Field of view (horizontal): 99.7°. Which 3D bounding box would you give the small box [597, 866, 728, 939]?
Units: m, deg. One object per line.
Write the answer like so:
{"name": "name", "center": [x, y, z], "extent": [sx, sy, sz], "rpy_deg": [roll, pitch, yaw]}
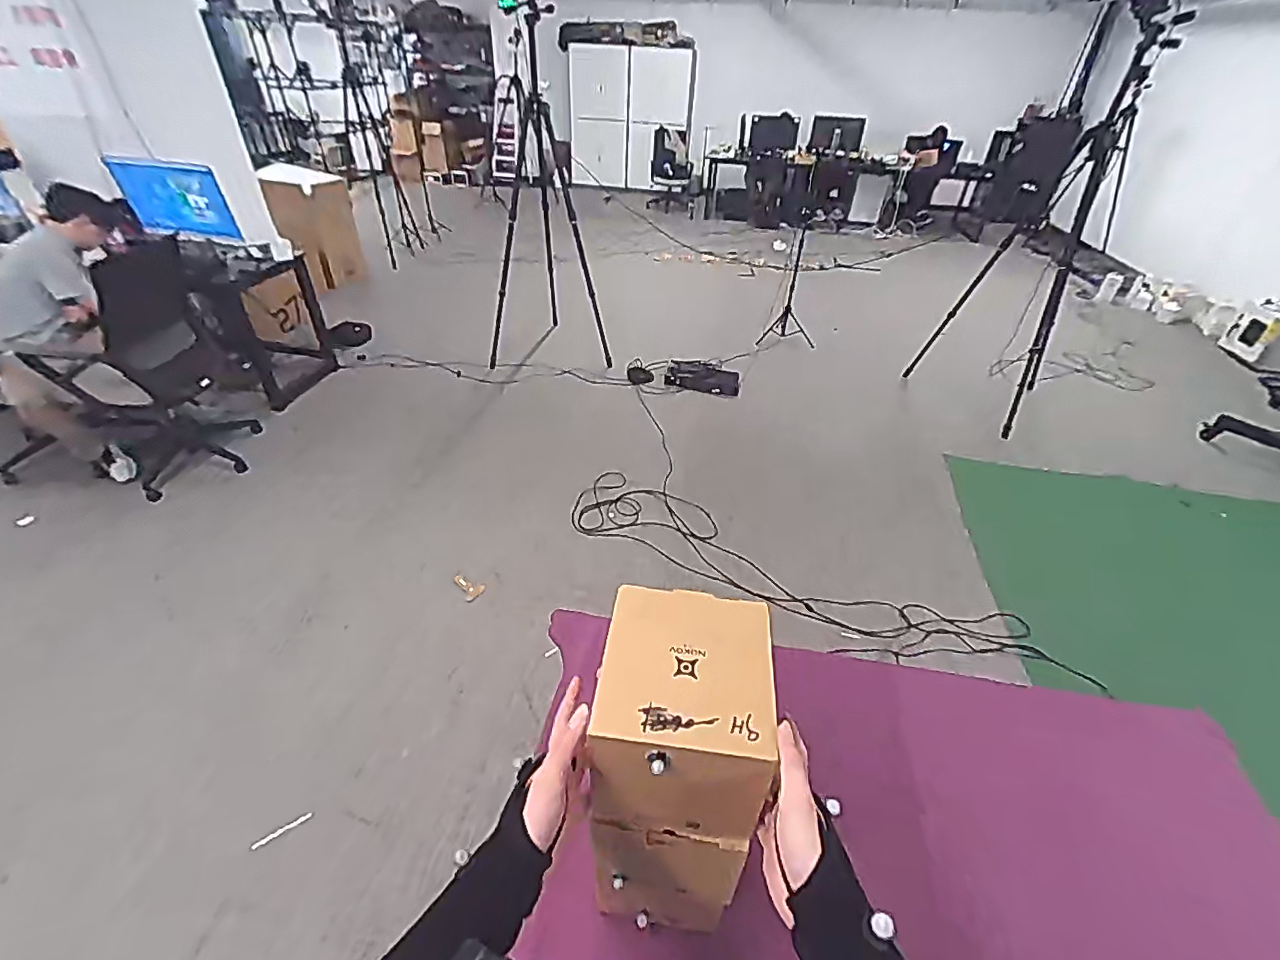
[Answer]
{"name": "small box", "center": [0.036, 0.505, 0.765], "extent": [0.168, 0.176, 0.179], "rpy_deg": [6, 38, 6]}

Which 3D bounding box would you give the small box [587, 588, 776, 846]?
{"name": "small box", "center": [0.044, 0.243, 0.569], "extent": [0.168, 0.176, 0.179], "rpy_deg": [5, 36, 6]}

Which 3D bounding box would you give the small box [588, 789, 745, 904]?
{"name": "small box", "center": [0.039, 0.379, 0.660], "extent": [0.168, 0.176, 0.179], "rpy_deg": [6, 36, 6]}
